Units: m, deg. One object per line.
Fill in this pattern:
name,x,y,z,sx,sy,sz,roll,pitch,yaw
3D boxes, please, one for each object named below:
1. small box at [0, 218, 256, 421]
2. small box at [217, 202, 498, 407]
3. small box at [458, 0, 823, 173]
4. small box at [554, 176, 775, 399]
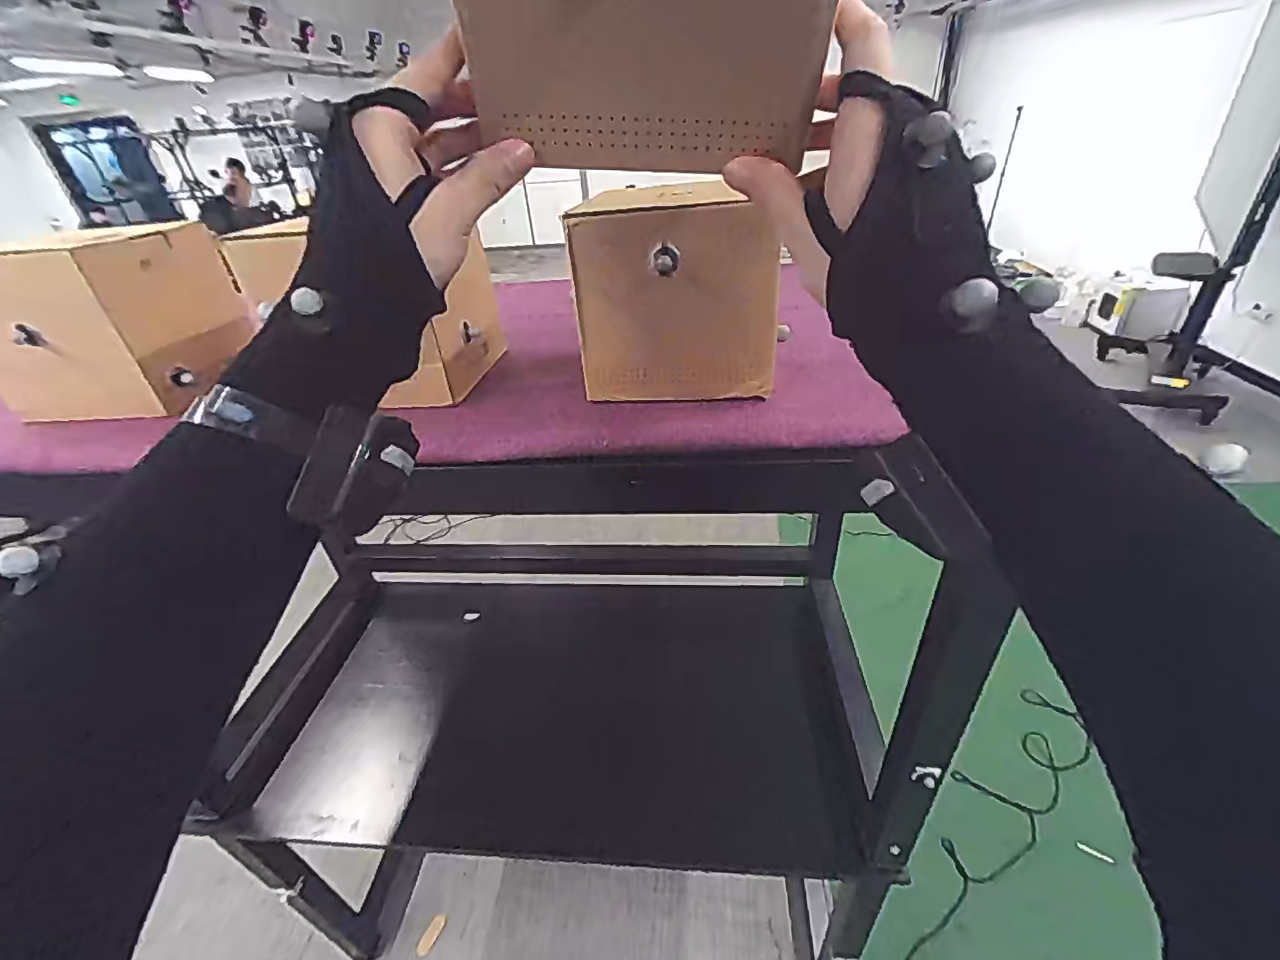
small box,-0.577,-0.175,0.591,0.179,0.176,0.168,-3,33,5
small box,-0.269,-0.183,0.565,0.179,0.176,0.168,-1,33,6
small box,0.004,-0.284,0.279,0.179,0.176,0.168,3,59,5
small box,0.035,-0.185,0.523,0.179,0.176,0.168,0,34,10
